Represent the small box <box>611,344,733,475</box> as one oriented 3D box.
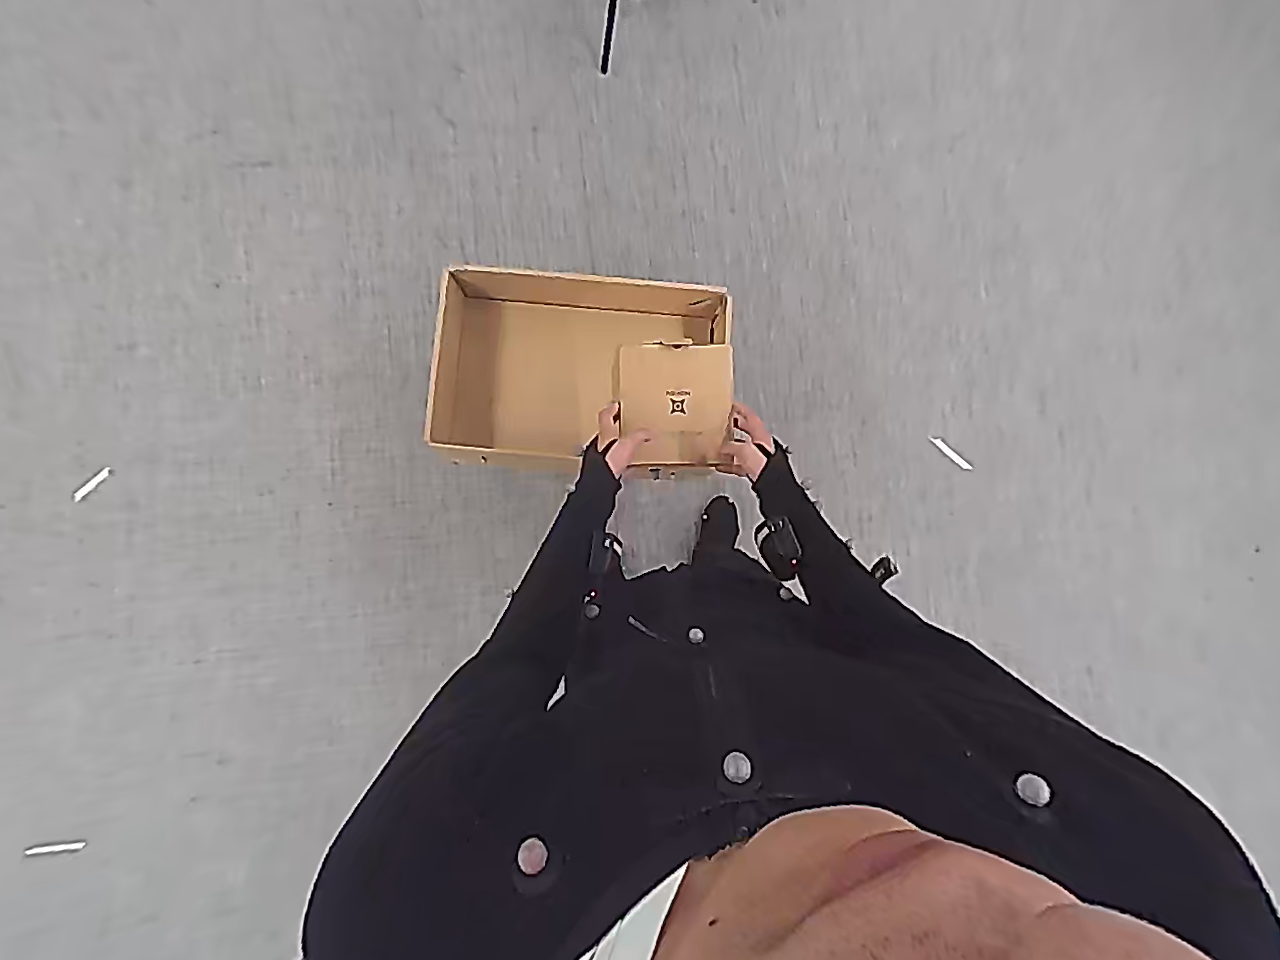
[{"bbox_3d":[0.041,-0.100,0.839,0.168,0.176,0.179,-1,88,-6],"label":"small box"}]
